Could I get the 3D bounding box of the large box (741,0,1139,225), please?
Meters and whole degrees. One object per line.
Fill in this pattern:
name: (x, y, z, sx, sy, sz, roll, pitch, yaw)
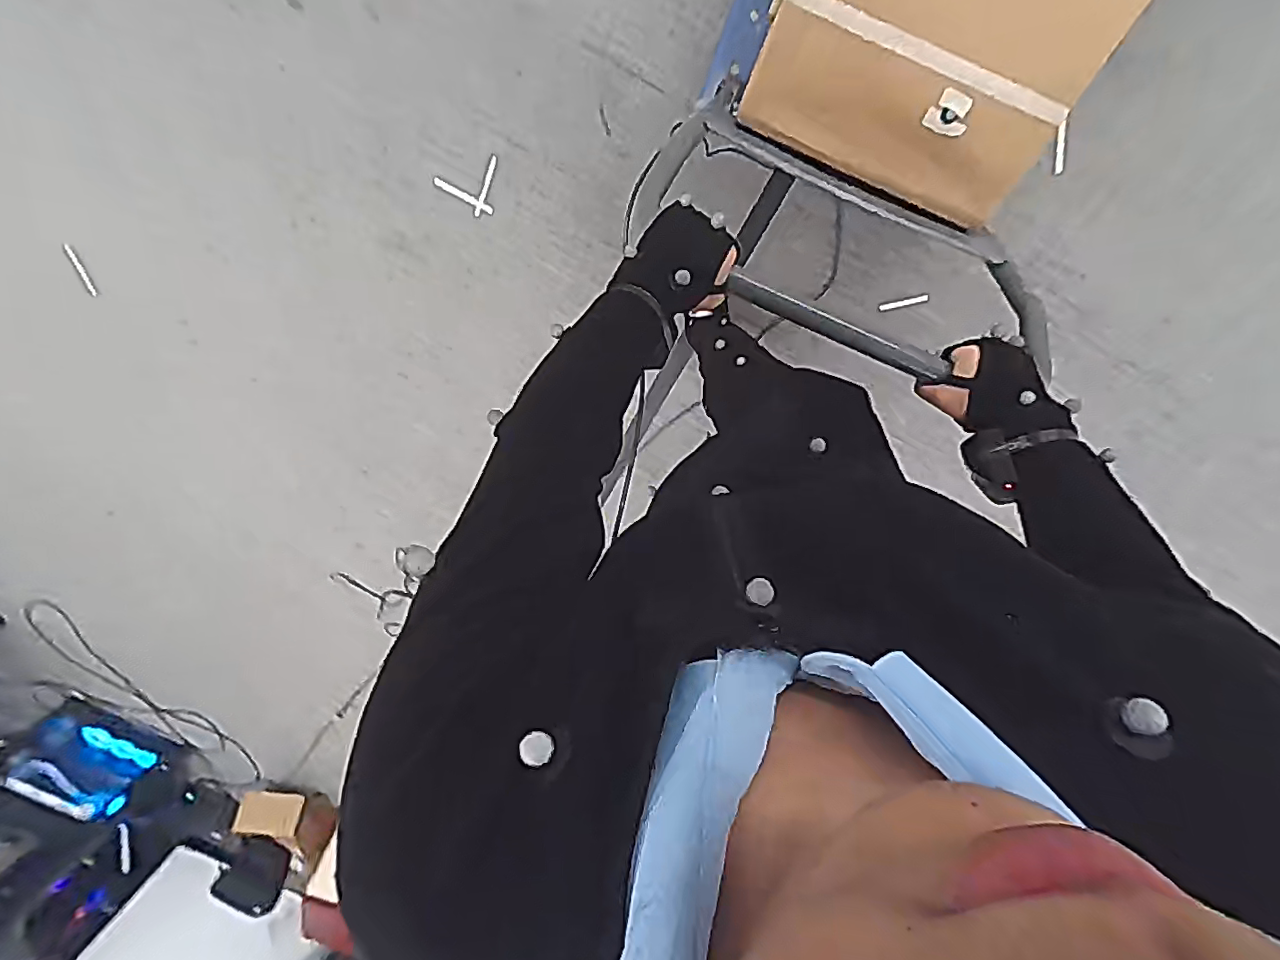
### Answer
large box: (0.406, -0.653, 0.830, 0.408, 0.320, 0.320, 22, 131, -3)
